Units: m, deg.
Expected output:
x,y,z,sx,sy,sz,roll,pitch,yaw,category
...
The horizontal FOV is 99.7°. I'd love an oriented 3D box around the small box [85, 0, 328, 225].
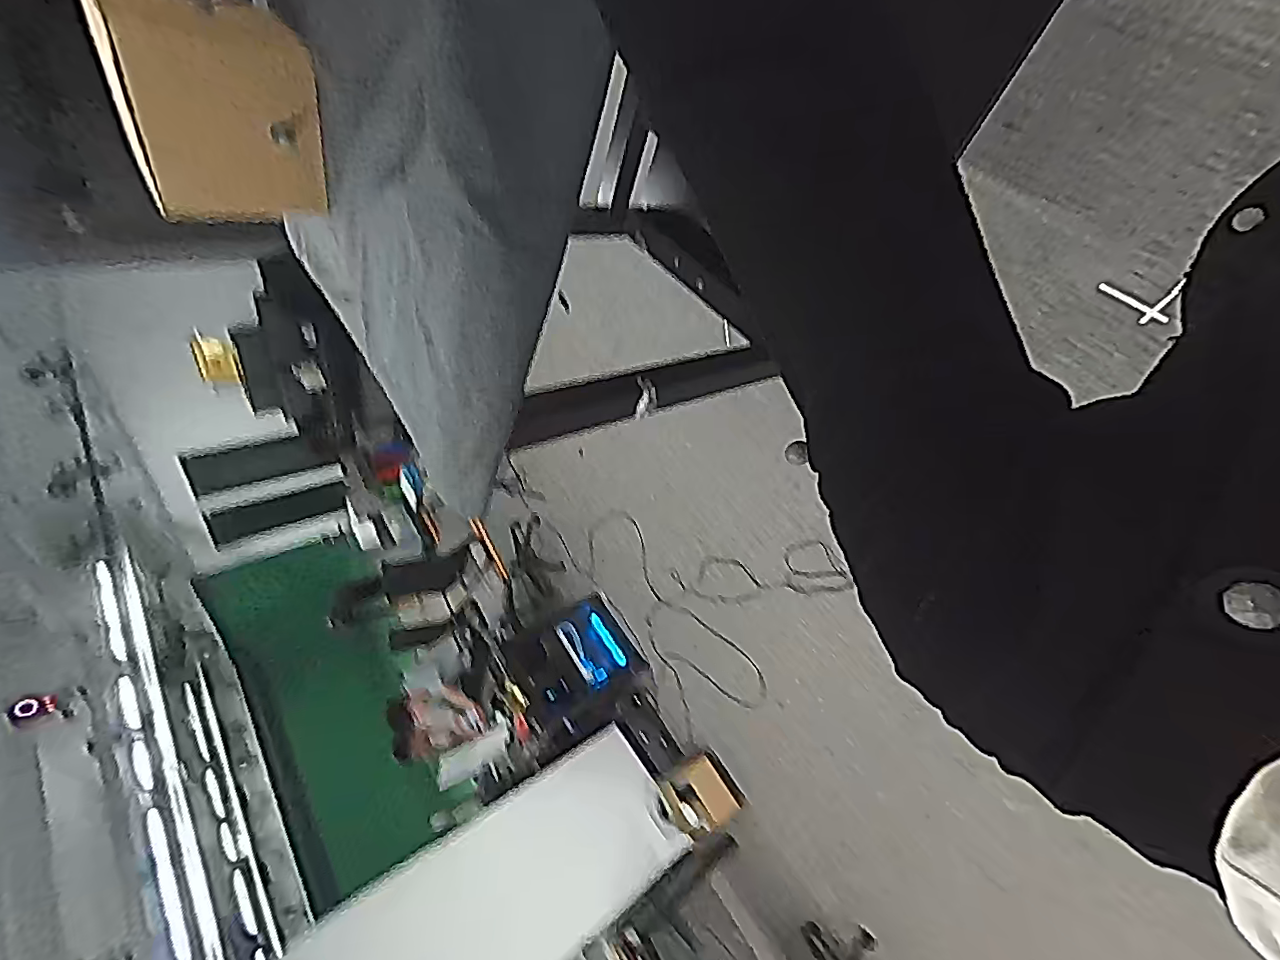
x,y,z,sx,sy,sz,roll,pitch,yaw,category
-0.478,-0.413,0.615,0.168,0.176,0.179,48,138,27,small box
